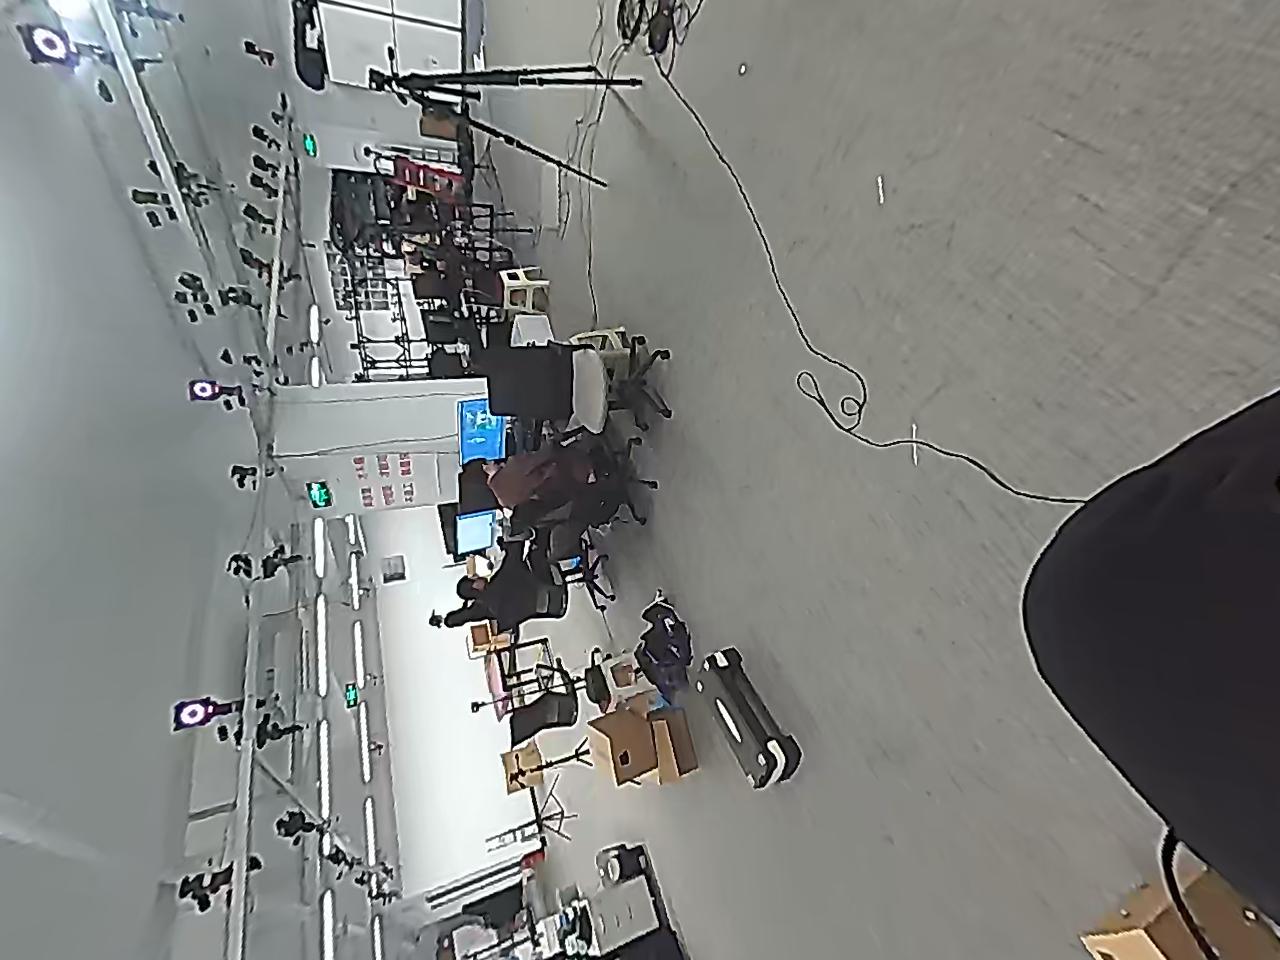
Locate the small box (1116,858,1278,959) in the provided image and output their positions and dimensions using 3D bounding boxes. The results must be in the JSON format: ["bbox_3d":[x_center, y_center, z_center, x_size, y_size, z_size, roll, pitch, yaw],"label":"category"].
[{"bbox_3d":[1.291,1.018,1.256,0.168,0.176,0.179,61,148,36],"label":"small box"}]

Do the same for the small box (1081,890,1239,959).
[{"bbox_3d":[1.144,1.038,1.183,0.168,0.176,0.179,61,149,36],"label":"small box"}]
